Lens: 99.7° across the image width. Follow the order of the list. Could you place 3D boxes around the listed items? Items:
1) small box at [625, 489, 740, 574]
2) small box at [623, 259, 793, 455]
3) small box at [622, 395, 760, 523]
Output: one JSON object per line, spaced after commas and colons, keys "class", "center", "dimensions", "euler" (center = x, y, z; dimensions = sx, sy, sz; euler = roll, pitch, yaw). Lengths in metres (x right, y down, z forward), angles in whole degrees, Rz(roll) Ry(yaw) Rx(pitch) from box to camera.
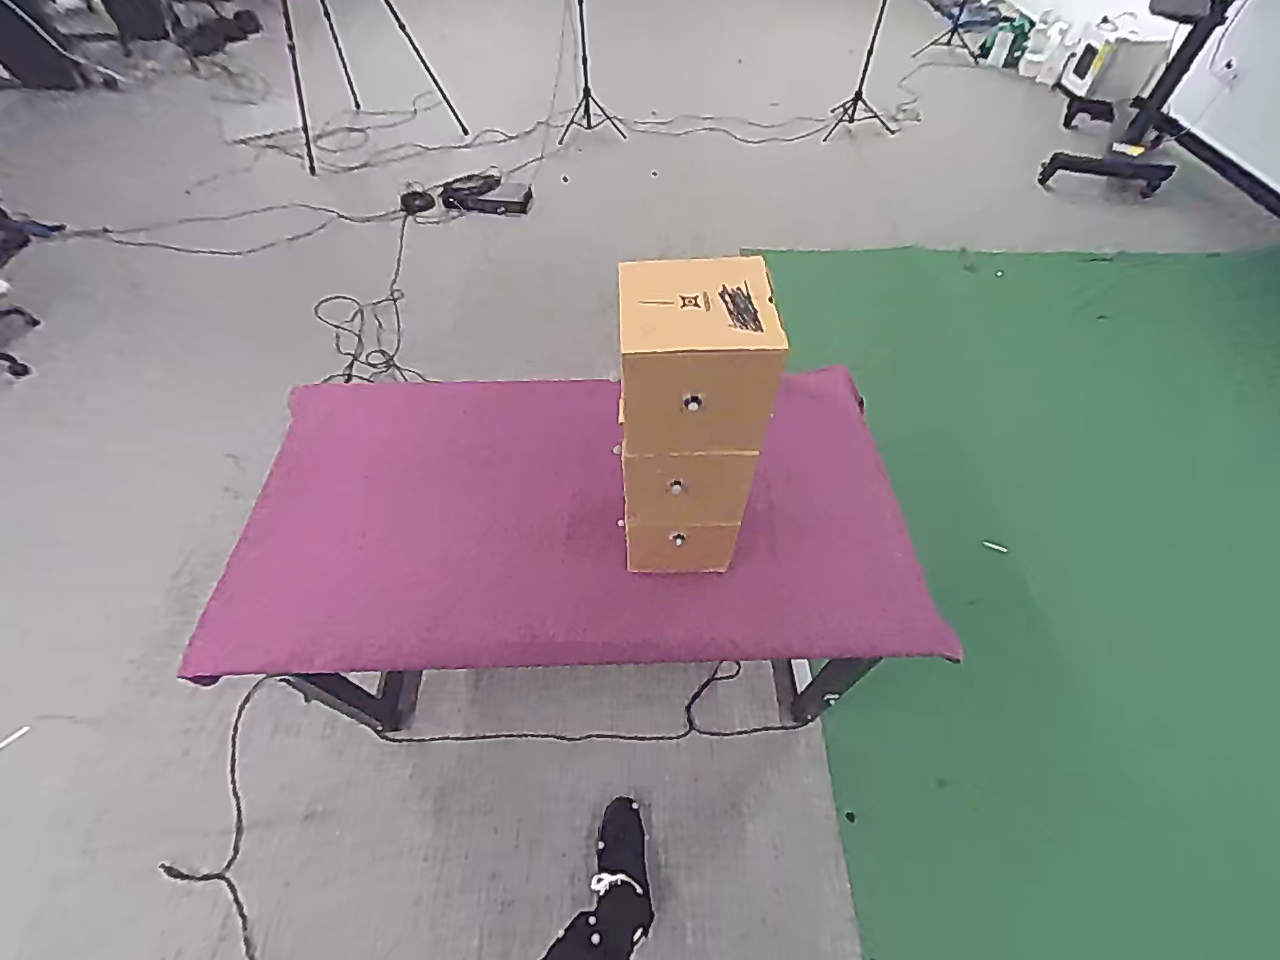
{"class": "small box", "center": [0.067, 0.051, 0.920], "dimensions": [0.179, 0.176, 0.168], "euler": [1, 55, 1]}
{"class": "small box", "center": [0.068, -0.144, 0.655], "dimensions": [0.179, 0.176, 0.168], "euler": [-2, 55, 0]}
{"class": "small box", "center": [0.067, -0.046, 0.788], "dimensions": [0.179, 0.176, 0.168], "euler": [-1, 55, 1]}
